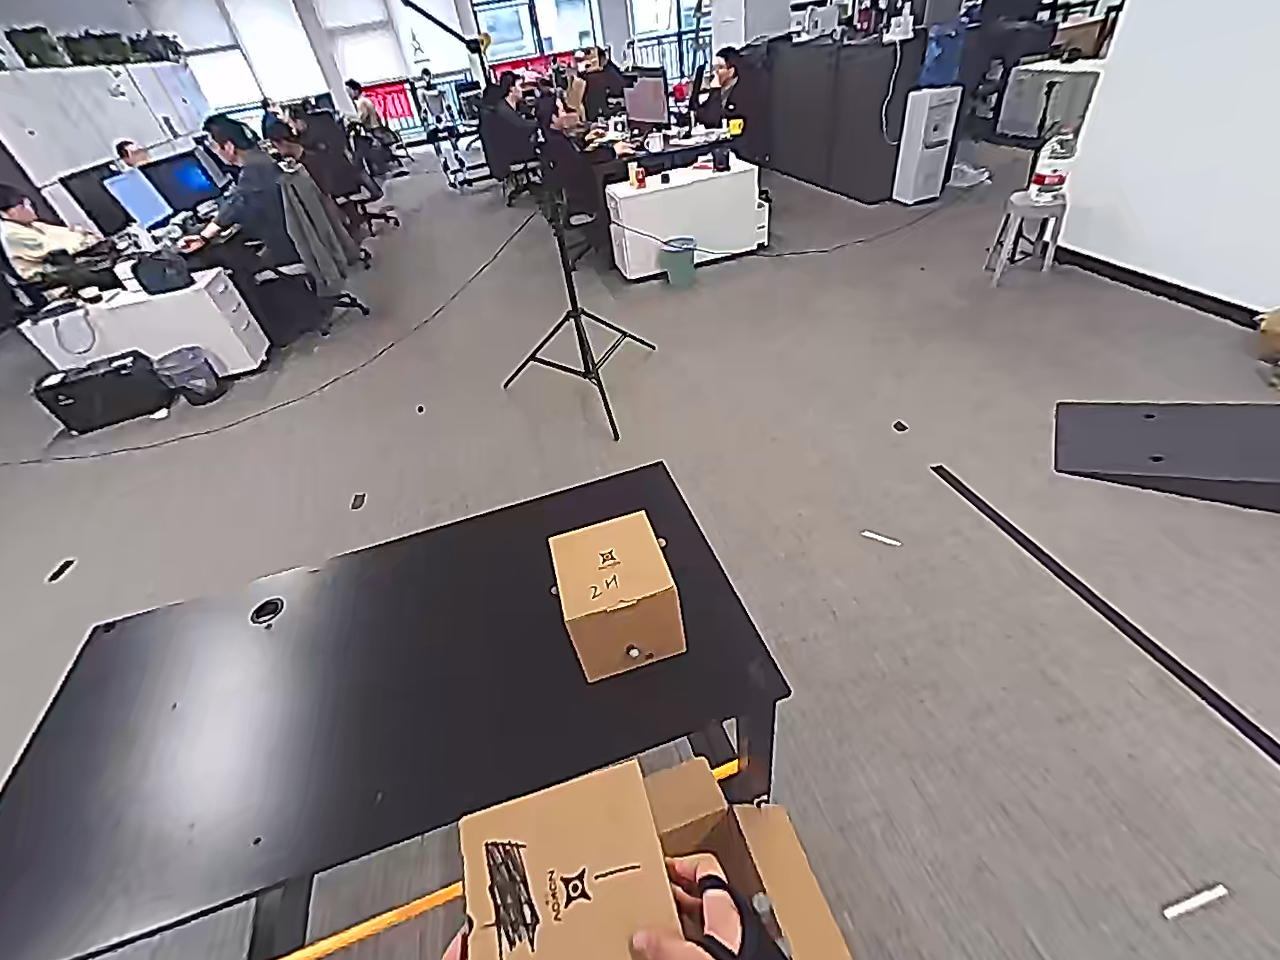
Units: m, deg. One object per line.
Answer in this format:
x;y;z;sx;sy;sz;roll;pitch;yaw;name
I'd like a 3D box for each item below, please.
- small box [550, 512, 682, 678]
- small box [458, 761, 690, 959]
-0.039;0.184;0.875;0.168;0.176;0.179;-16;41;-6;small box
-0.058;0.404;0.515;0.179;0.176;0.168;-15;46;-8;small box
